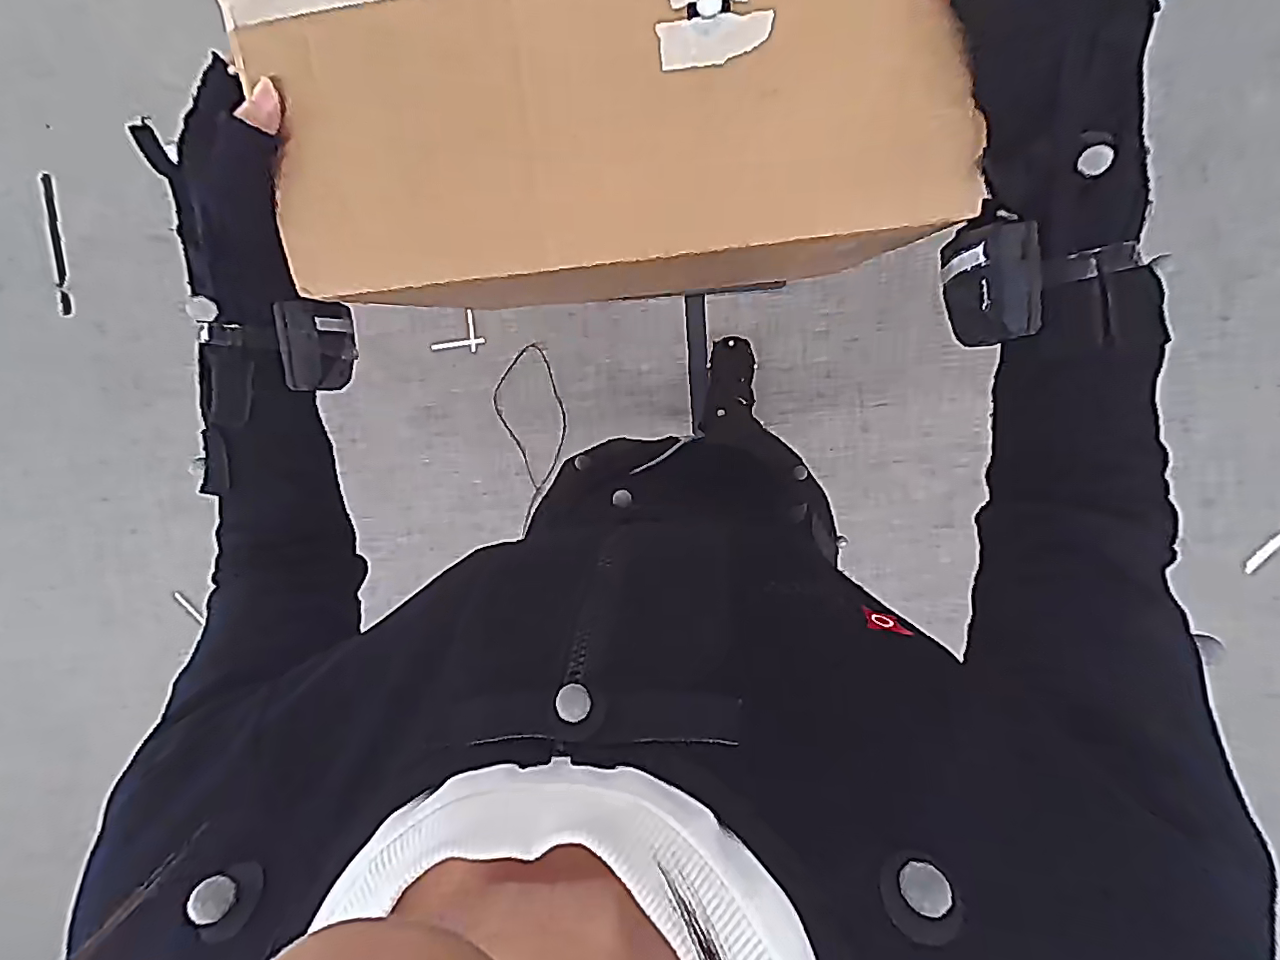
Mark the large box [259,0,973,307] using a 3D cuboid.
[{"bbox_3d":[-0.014,-0.329,0.435,0.408,0.320,0.320,-4,106,7],"label":"large box"}]
